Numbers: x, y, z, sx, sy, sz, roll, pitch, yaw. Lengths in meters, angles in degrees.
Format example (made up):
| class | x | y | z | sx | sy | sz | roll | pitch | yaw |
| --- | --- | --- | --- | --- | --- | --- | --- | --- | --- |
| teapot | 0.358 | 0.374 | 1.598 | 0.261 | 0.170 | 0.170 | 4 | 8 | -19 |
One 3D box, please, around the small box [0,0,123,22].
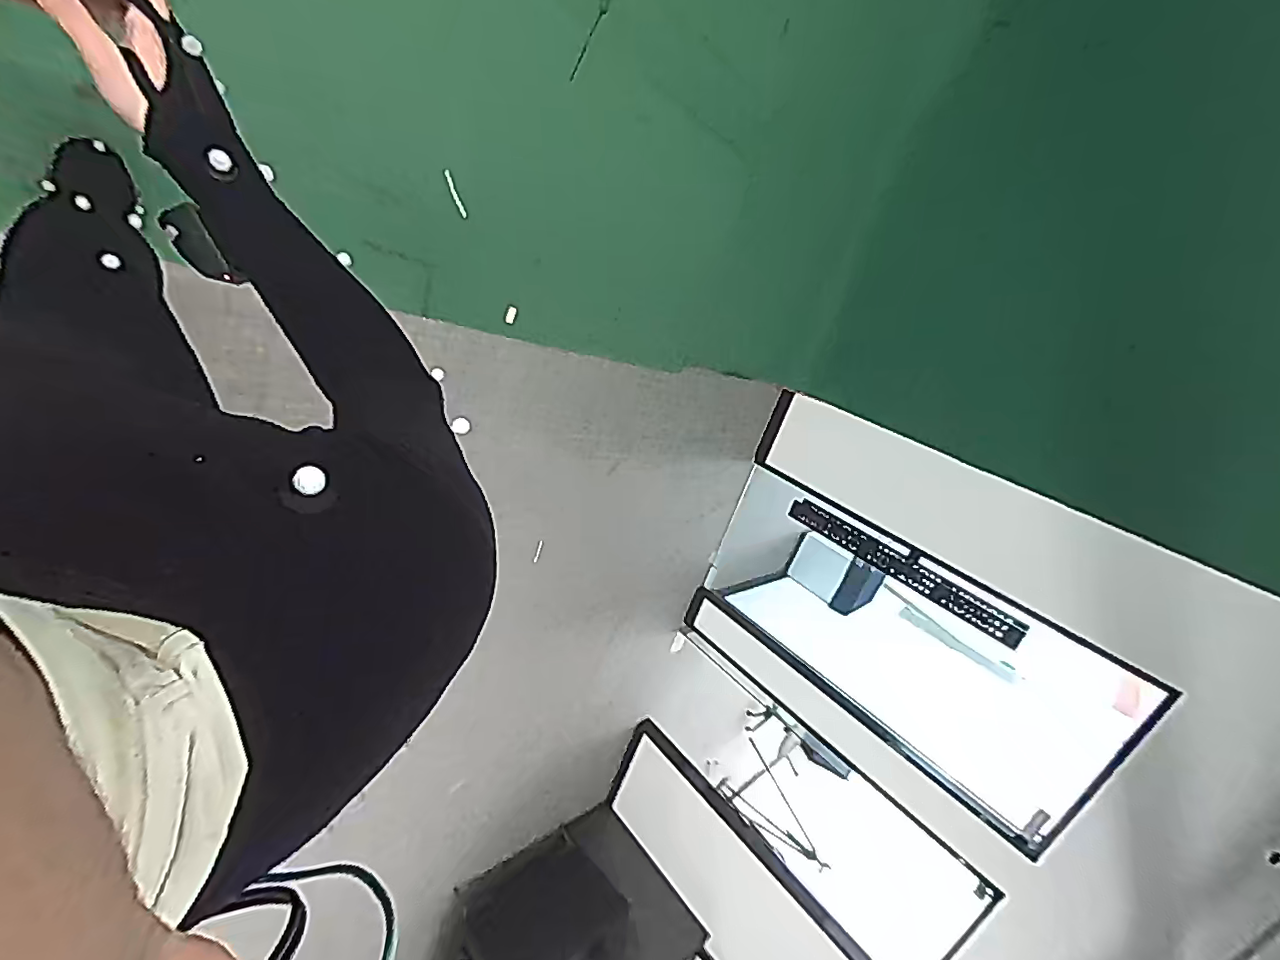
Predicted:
| class | x | y | z | sx | sy | sz | roll | pitch | yaw |
| --- | --- | --- | --- | --- | --- | --- | --- | --- | --- |
| small box | -0.457 | -0.435 | 0.342 | 0.179 | 0.176 | 0.168 | -15 | 113 | -42 |
